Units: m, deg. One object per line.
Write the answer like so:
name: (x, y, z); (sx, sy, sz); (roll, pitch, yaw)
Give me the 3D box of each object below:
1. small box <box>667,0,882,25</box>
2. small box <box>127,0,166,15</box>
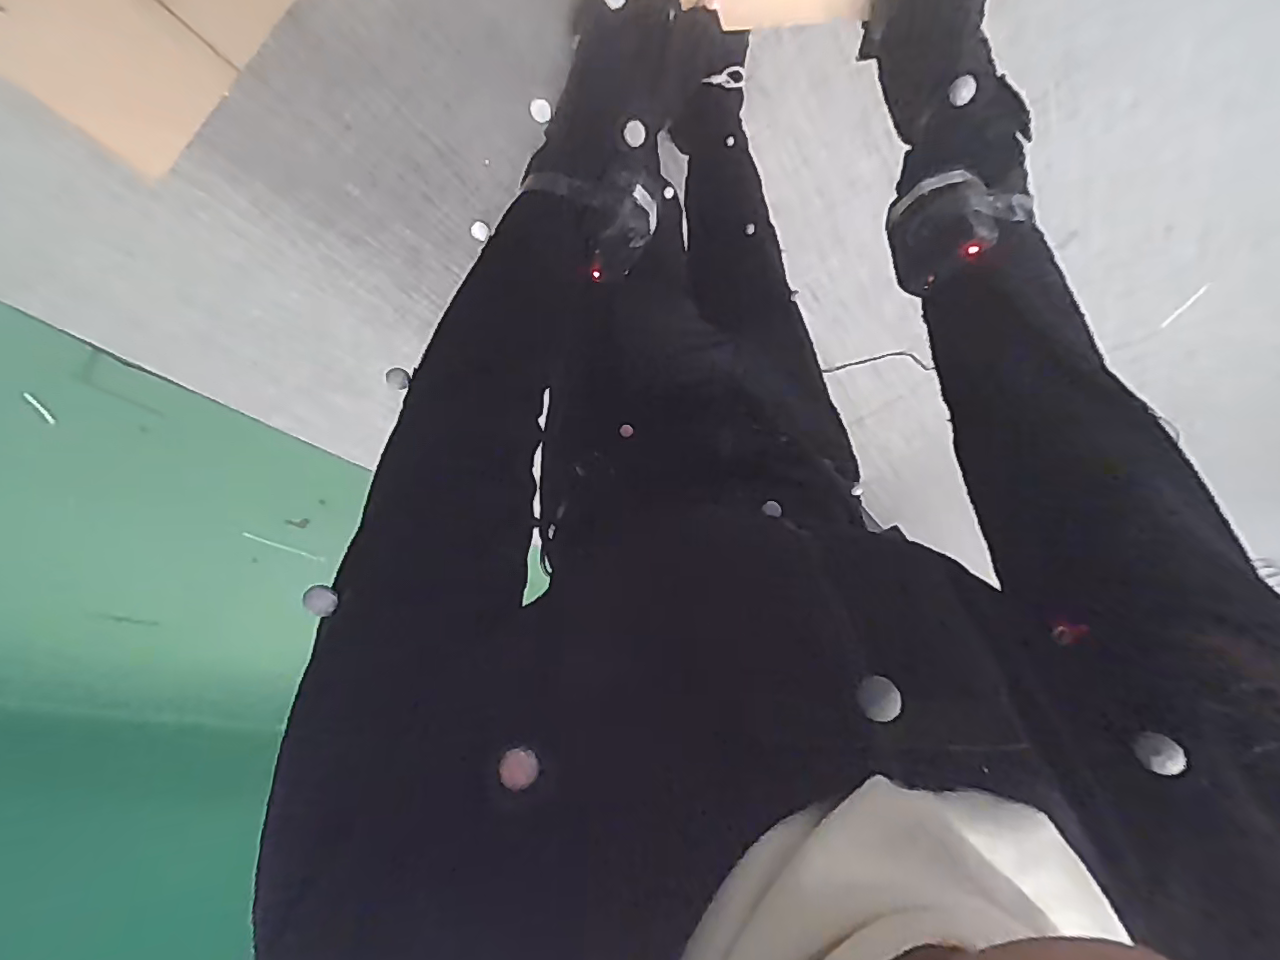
small box: (0.095, -0.446, 0.376); (0.179, 0.176, 0.168); (-7, 140, 1)
small box: (-0.615, -0.730, 0.650); (0.168, 0.176, 0.179); (-22, 141, 21)
